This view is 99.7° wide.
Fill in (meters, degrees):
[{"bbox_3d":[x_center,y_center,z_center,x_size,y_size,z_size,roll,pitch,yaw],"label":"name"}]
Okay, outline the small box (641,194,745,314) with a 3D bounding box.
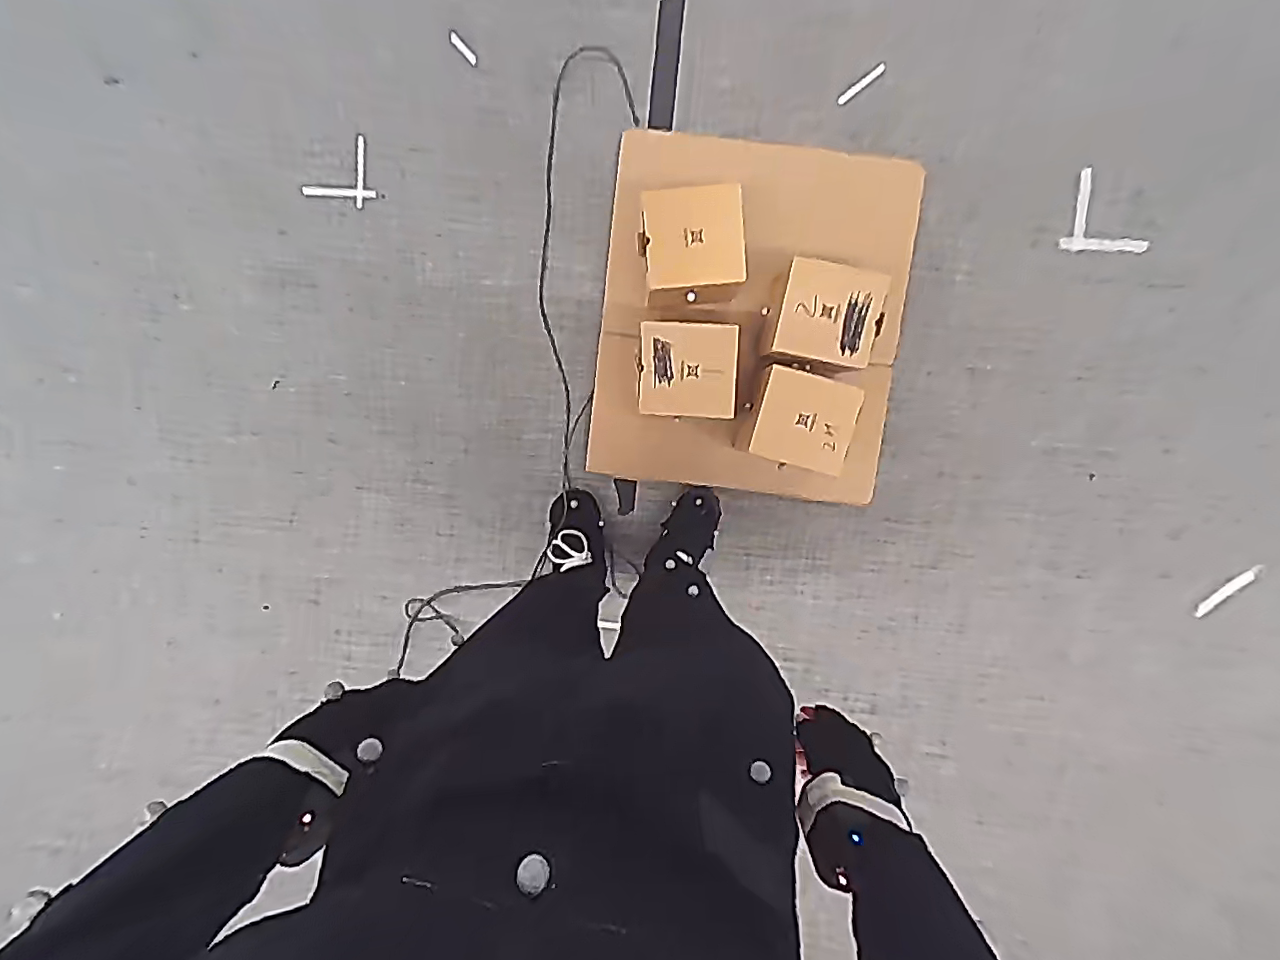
[{"bbox_3d":[0.094,-0.420,1.028,0.179,0.176,0.168,-5,95,2],"label":"small box"}]
